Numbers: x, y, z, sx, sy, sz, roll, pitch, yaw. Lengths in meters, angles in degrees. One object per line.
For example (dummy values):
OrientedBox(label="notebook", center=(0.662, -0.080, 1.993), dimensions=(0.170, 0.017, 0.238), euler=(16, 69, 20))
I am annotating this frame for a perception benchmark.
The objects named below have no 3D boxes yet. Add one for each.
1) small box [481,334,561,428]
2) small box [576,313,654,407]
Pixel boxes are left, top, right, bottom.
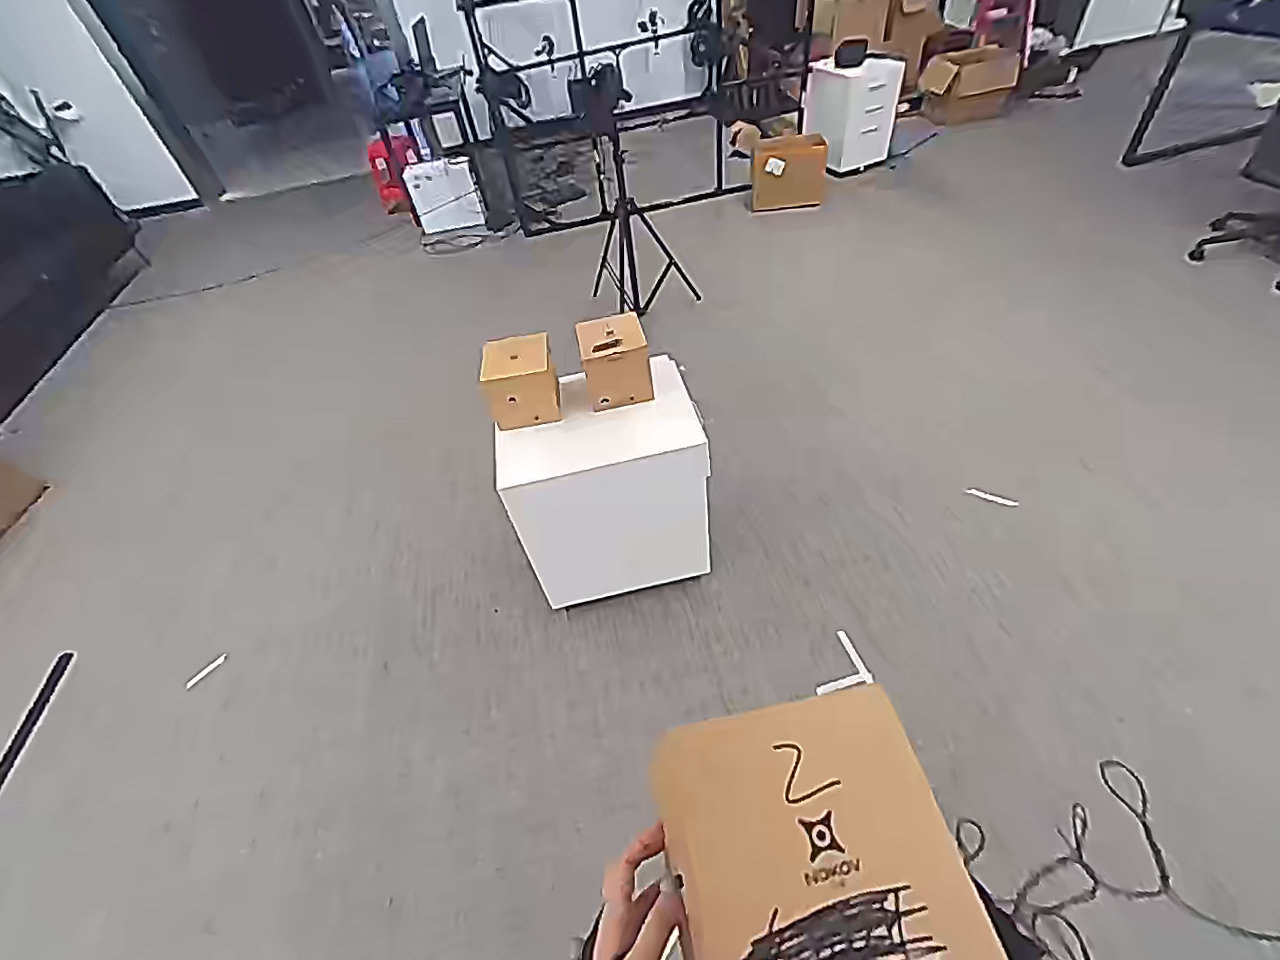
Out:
OrientedBox(label="small box", center=(-0.304, -0.252, 1.410), dimensions=(0.168, 0.176, 0.179), euler=(-10, 46, -1))
OrientedBox(label="small box", center=(-0.064, -0.308, 1.423), dimensions=(0.168, 0.176, 0.179), euler=(-12, 46, -2))
